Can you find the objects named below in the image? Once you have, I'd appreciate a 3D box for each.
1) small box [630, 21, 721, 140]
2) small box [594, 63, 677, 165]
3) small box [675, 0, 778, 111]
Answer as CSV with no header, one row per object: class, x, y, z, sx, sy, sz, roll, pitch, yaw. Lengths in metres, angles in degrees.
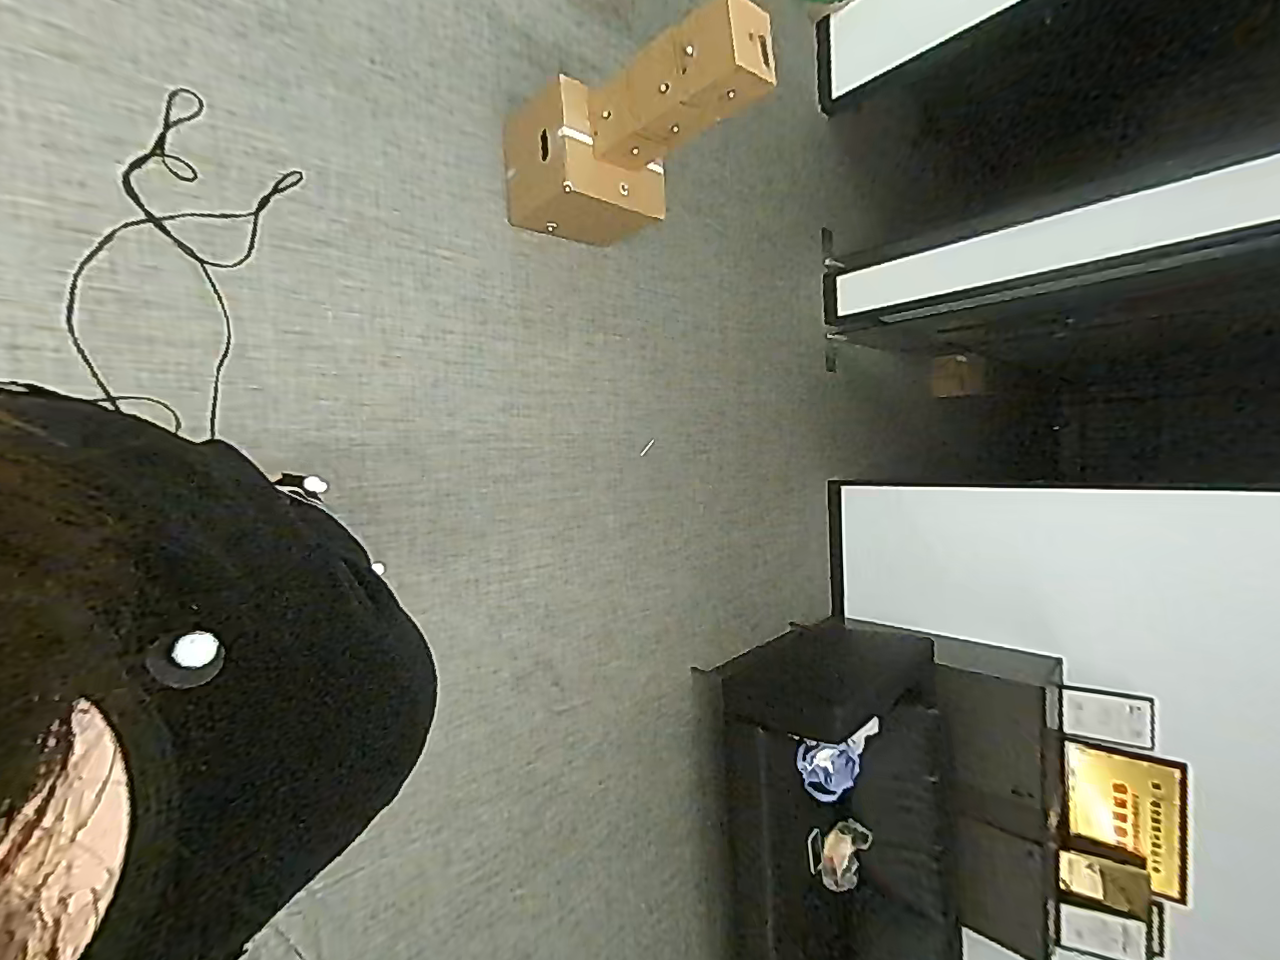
small box,0.092,-1.038,1.428,0.168,0.176,0.179,-12,98,-44
small box,-0.020,-1.037,1.551,0.179,0.176,0.168,-12,98,-42
small box,0.210,-1.036,1.313,0.179,0.176,0.168,-16,100,-42
